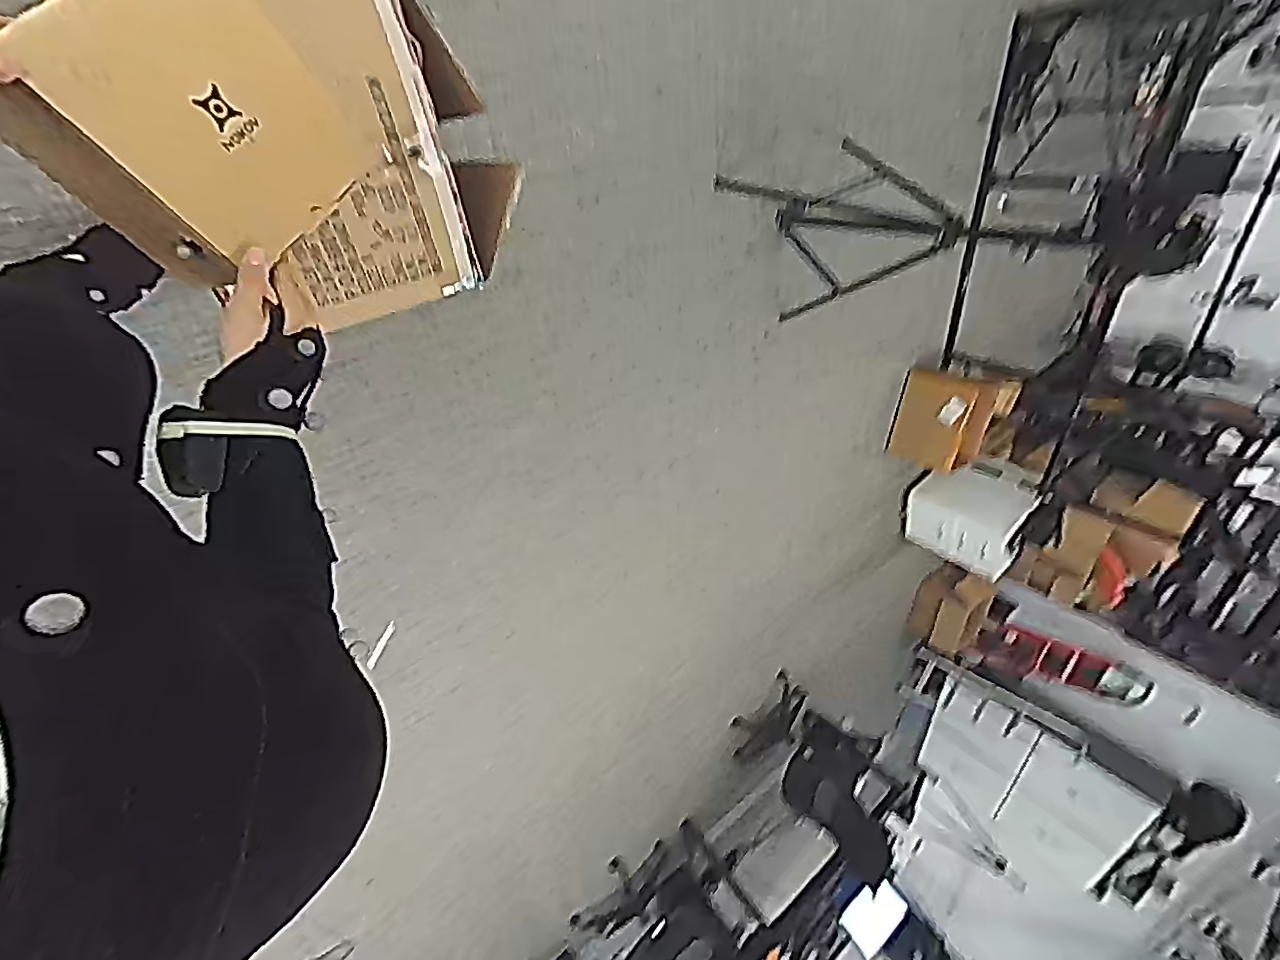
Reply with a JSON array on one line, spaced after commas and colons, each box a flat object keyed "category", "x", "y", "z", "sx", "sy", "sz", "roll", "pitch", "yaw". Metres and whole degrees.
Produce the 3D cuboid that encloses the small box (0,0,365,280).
[{"category": "small box", "x": -0.387, "y": -0.287, "z": 0.451, "sx": 0.168, "sy": 0.176, "sz": 0.179, "roll": -63, "pitch": 143, "yaw": -21}]
